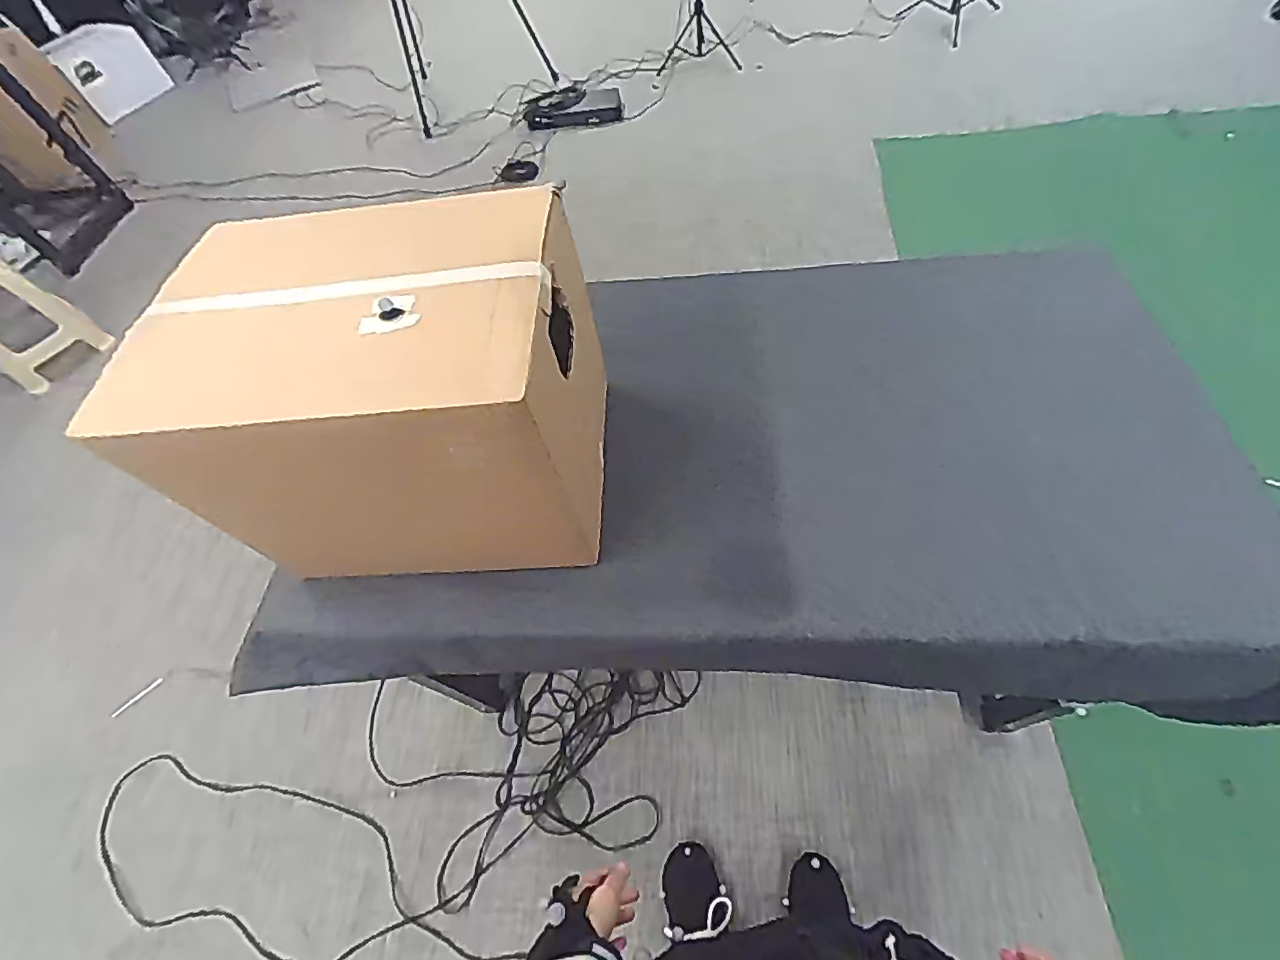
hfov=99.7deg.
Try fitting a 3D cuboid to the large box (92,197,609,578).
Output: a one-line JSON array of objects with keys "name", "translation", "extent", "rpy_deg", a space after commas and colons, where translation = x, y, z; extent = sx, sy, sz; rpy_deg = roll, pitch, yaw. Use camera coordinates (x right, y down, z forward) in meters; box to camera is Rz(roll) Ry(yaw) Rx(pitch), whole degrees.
[{"name": "large box", "translation": [-0.260, -0.092, 0.650], "extent": [0.408, 0.320, 0.320], "rpy_deg": [-3, 57, 4]}]
